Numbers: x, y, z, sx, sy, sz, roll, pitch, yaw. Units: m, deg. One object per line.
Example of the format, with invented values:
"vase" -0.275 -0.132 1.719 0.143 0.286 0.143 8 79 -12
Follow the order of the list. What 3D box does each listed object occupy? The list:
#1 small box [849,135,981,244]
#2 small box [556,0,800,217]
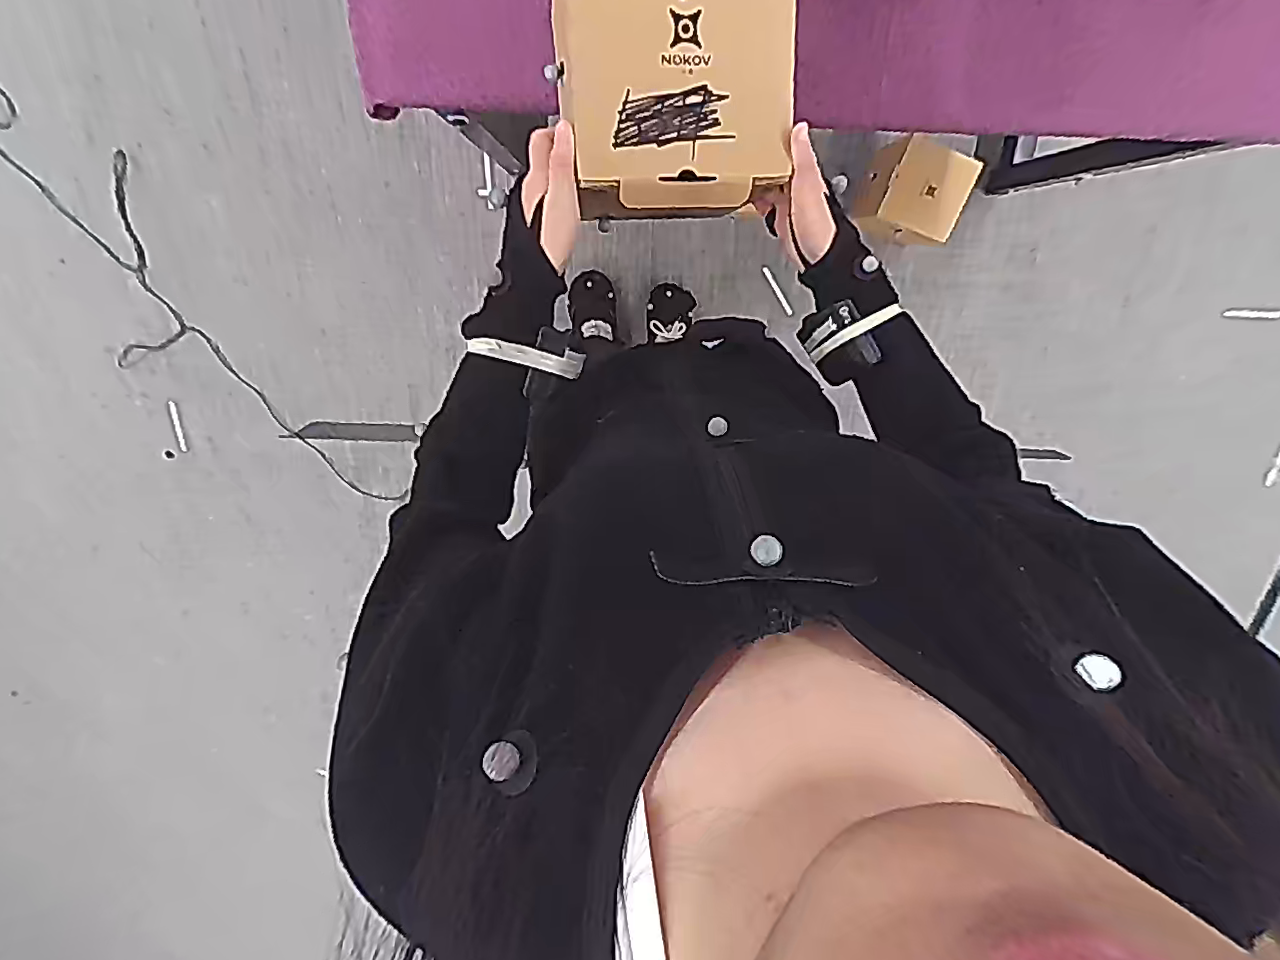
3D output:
"small box" 0.614 -0.651 1.231 0.179 0.176 0.168 17 110 -7
"small box" 0.020 -0.326 0.453 0.168 0.176 0.179 -6 107 -9
